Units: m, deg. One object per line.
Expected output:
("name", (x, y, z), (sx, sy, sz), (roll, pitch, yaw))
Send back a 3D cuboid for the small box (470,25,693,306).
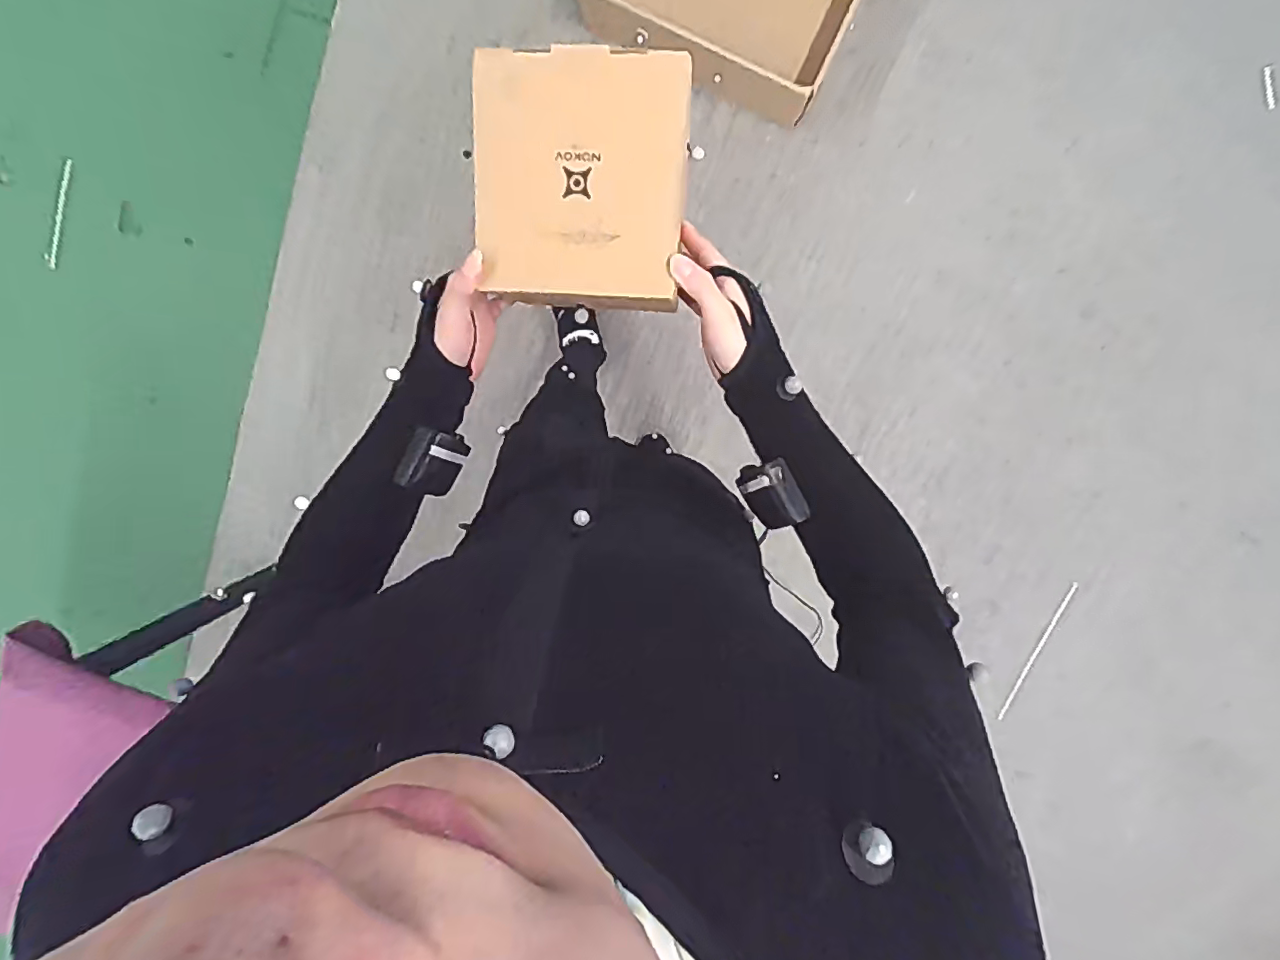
("small box", (-0.043, -0.261, 0.489), (0.168, 0.176, 0.179), (5, 104, 4))
